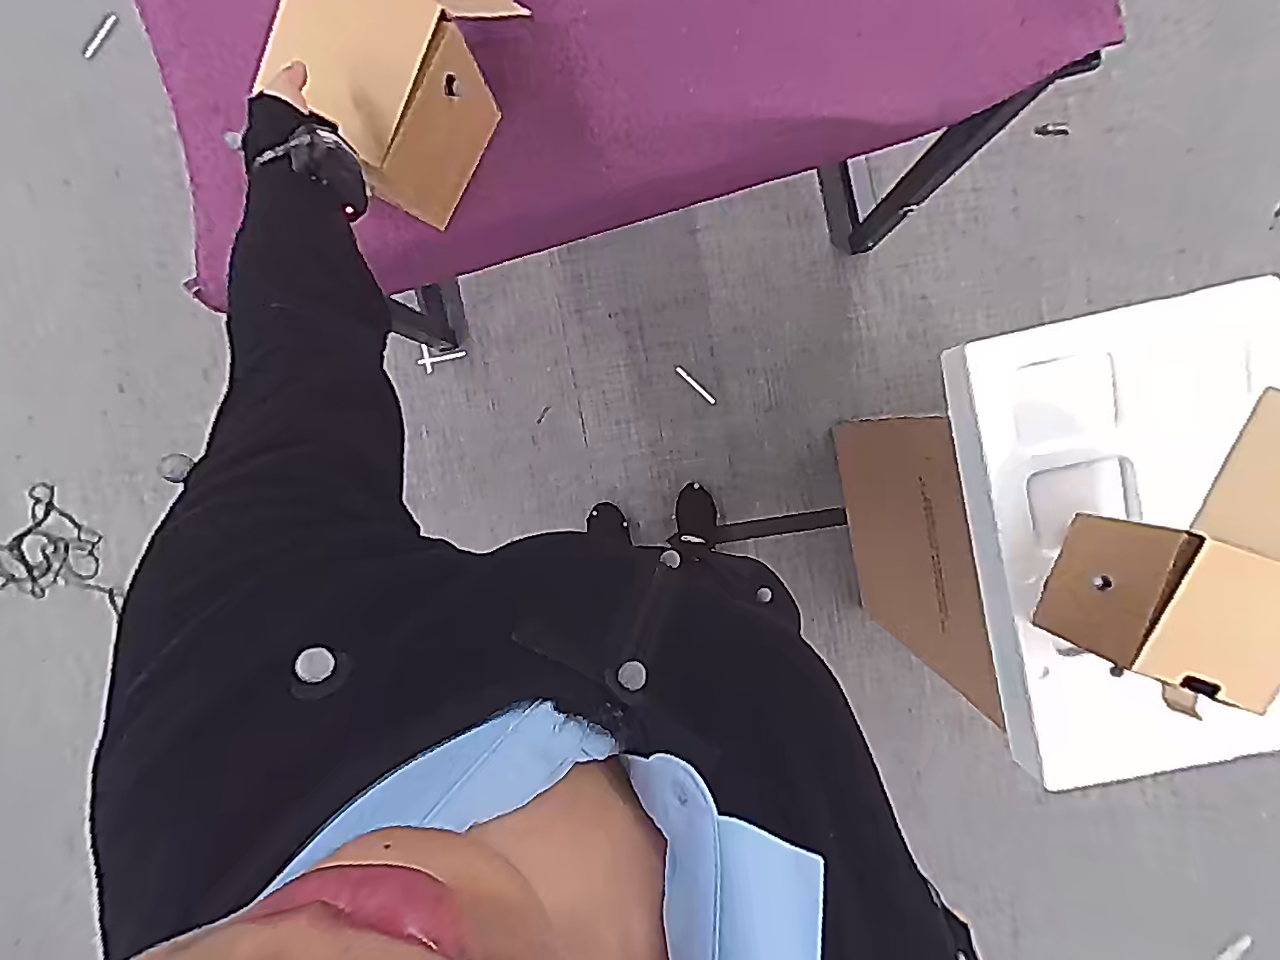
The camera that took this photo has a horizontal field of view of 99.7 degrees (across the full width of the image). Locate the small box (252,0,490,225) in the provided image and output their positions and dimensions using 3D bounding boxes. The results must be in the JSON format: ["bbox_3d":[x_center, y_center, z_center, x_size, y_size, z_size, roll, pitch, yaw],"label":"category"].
[{"bbox_3d":[-0.304,-0.453,0.656,0.168,0.176,0.179,29,94,2],"label":"small box"}]
